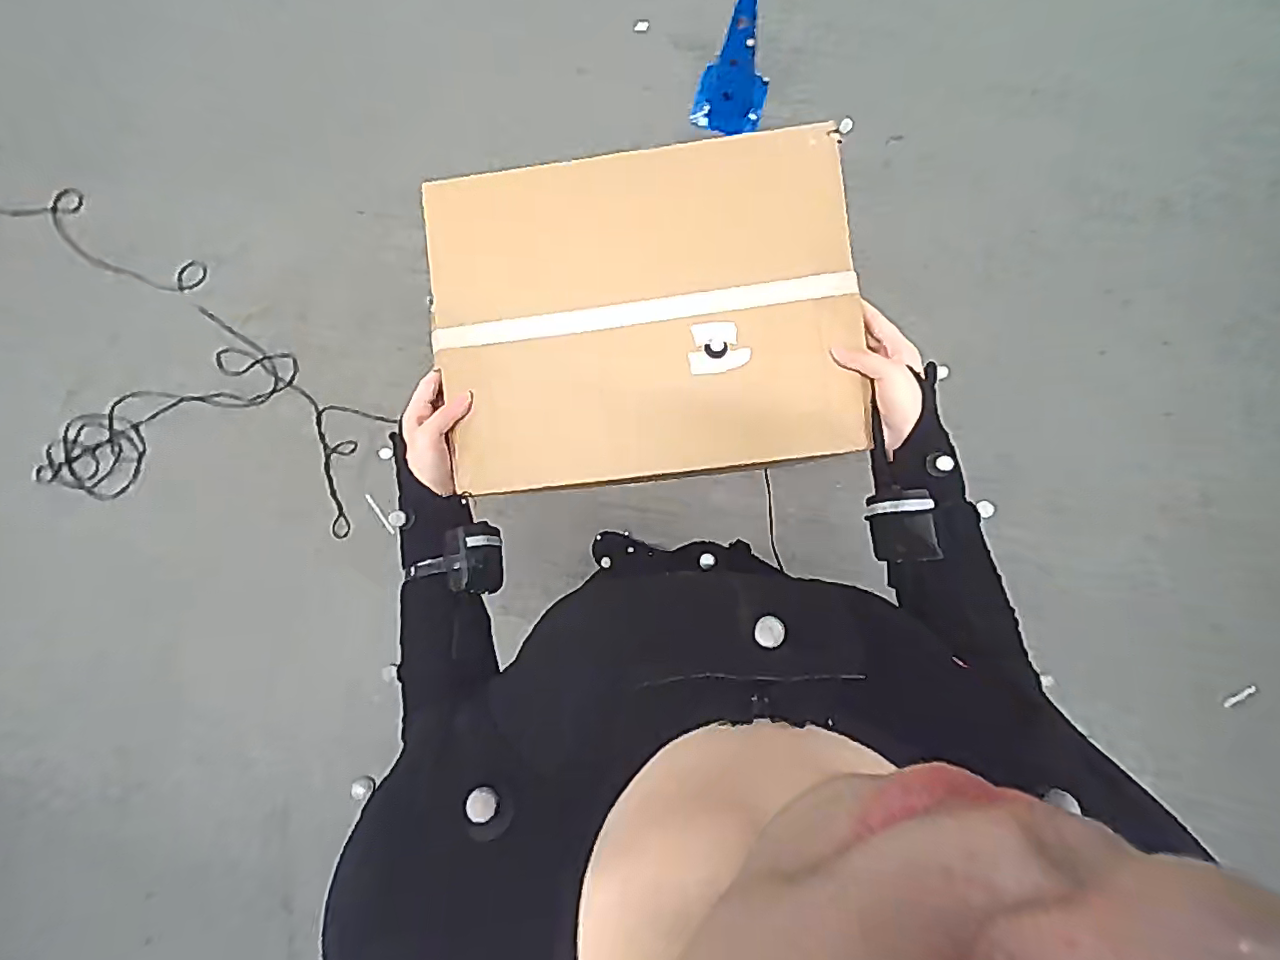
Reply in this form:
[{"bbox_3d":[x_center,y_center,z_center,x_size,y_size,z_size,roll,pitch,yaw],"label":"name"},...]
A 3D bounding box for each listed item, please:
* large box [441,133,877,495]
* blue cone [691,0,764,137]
[{"bbox_3d":[0.018,-0.157,0.674,0.408,0.320,0.320,-6,89,2],"label":"large box"},{"bbox_3d":[0.255,-1.137,1.450,0.193,0.380,0.192,18,85,3],"label":"blue cone"}]
